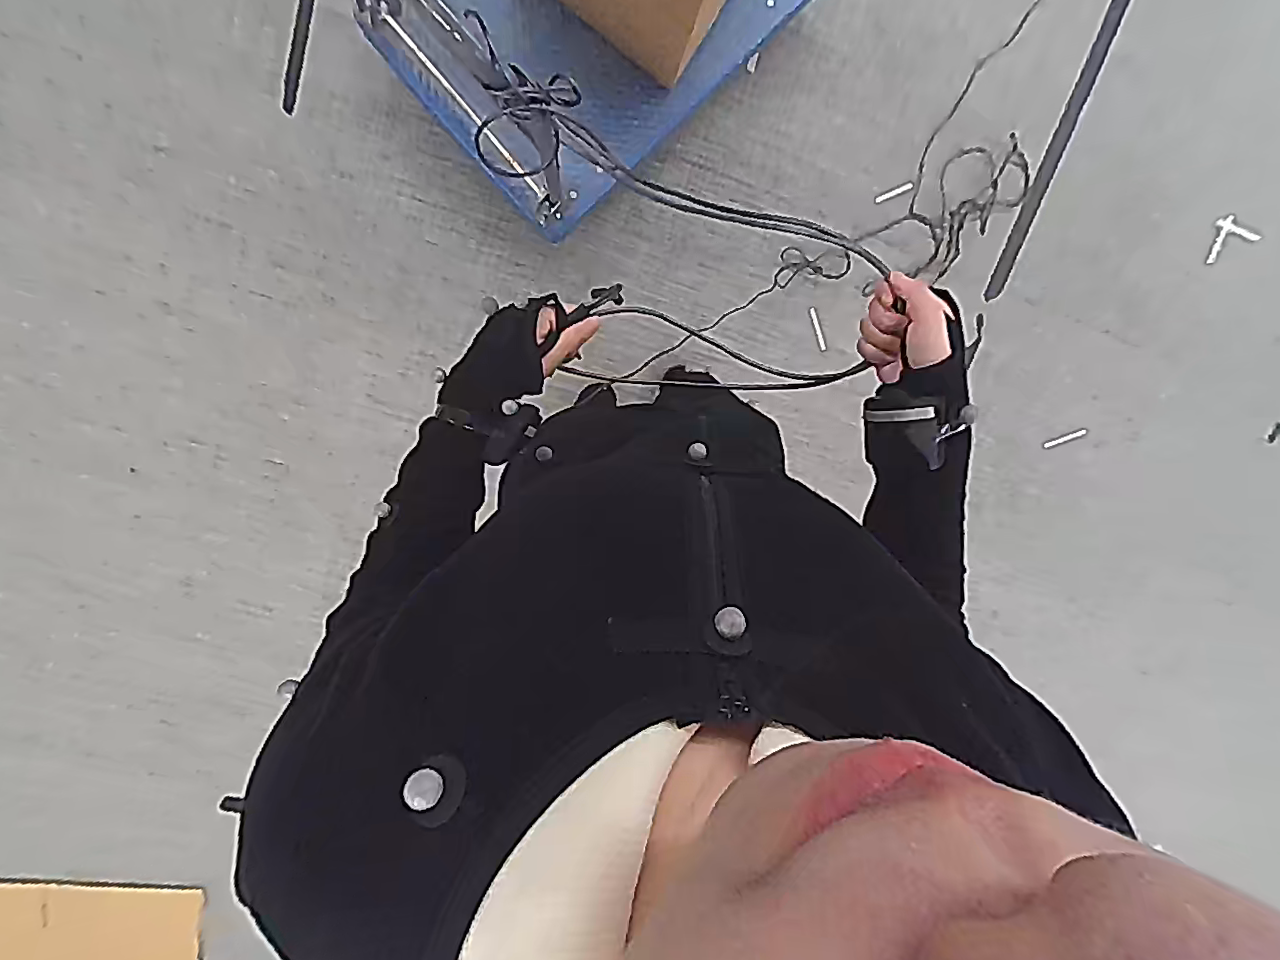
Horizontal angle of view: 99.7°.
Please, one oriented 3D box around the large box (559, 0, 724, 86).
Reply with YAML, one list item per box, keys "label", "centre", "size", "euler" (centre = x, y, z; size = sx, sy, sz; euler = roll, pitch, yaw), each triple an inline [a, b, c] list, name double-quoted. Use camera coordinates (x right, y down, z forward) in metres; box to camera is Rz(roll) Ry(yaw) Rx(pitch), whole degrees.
- label: "large box"
  centre: [0.000, -1.028, 0.951]
  size: [0.408, 0.320, 0.320]
  euler: [31, 97, -13]
